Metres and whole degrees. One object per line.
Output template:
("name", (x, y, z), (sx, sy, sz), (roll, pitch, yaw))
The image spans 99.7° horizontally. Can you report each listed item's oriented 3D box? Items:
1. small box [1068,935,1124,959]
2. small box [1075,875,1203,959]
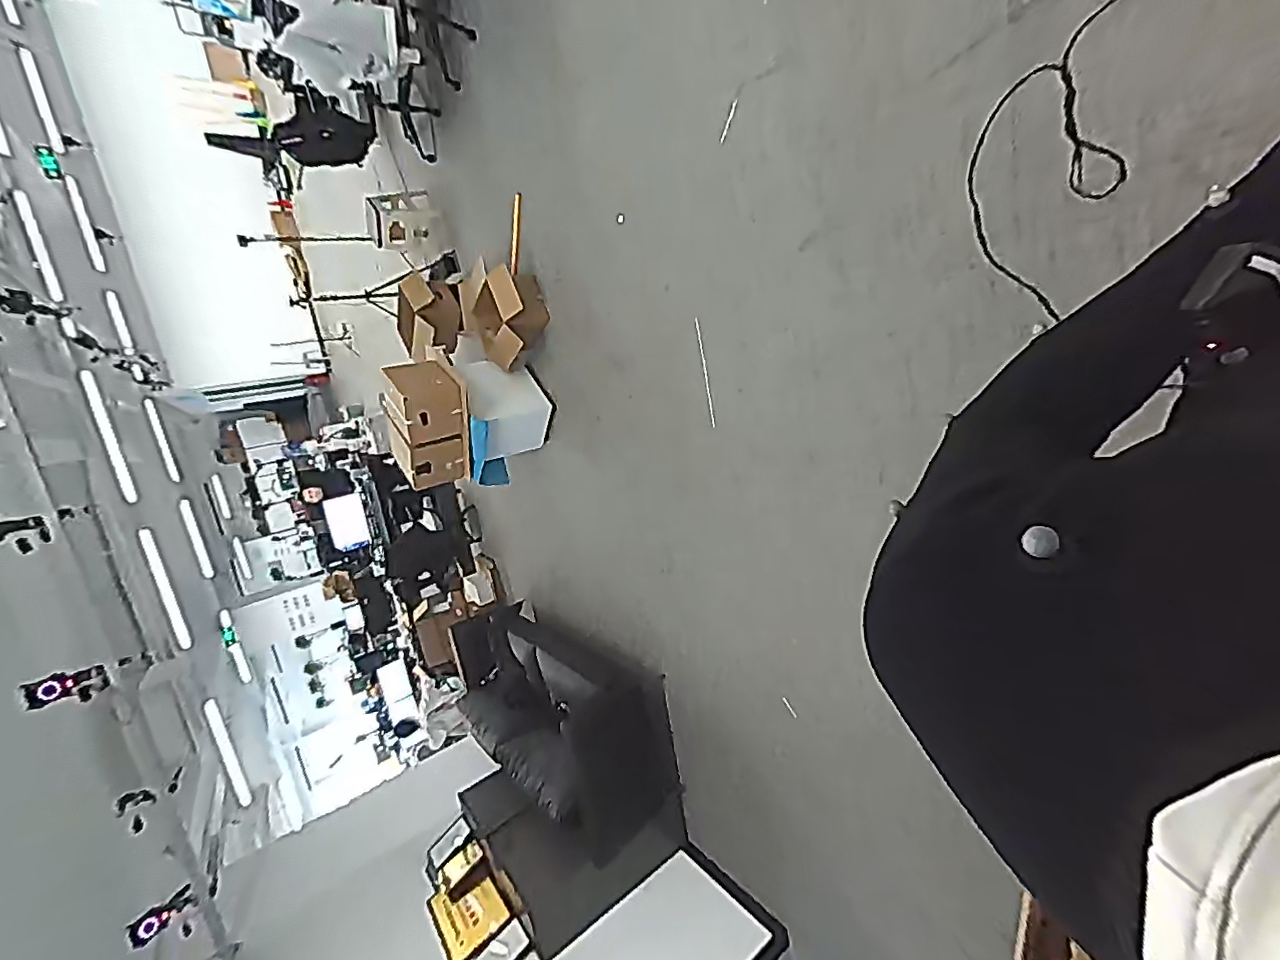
("small box", (0.892, 1.034, 1.019), (0.168, 0.176, 0.179), (17, 119, 49))
("small box", (1.018, 0.981, 1.111), (0.168, 0.176, 0.179), (14, 116, 50))
